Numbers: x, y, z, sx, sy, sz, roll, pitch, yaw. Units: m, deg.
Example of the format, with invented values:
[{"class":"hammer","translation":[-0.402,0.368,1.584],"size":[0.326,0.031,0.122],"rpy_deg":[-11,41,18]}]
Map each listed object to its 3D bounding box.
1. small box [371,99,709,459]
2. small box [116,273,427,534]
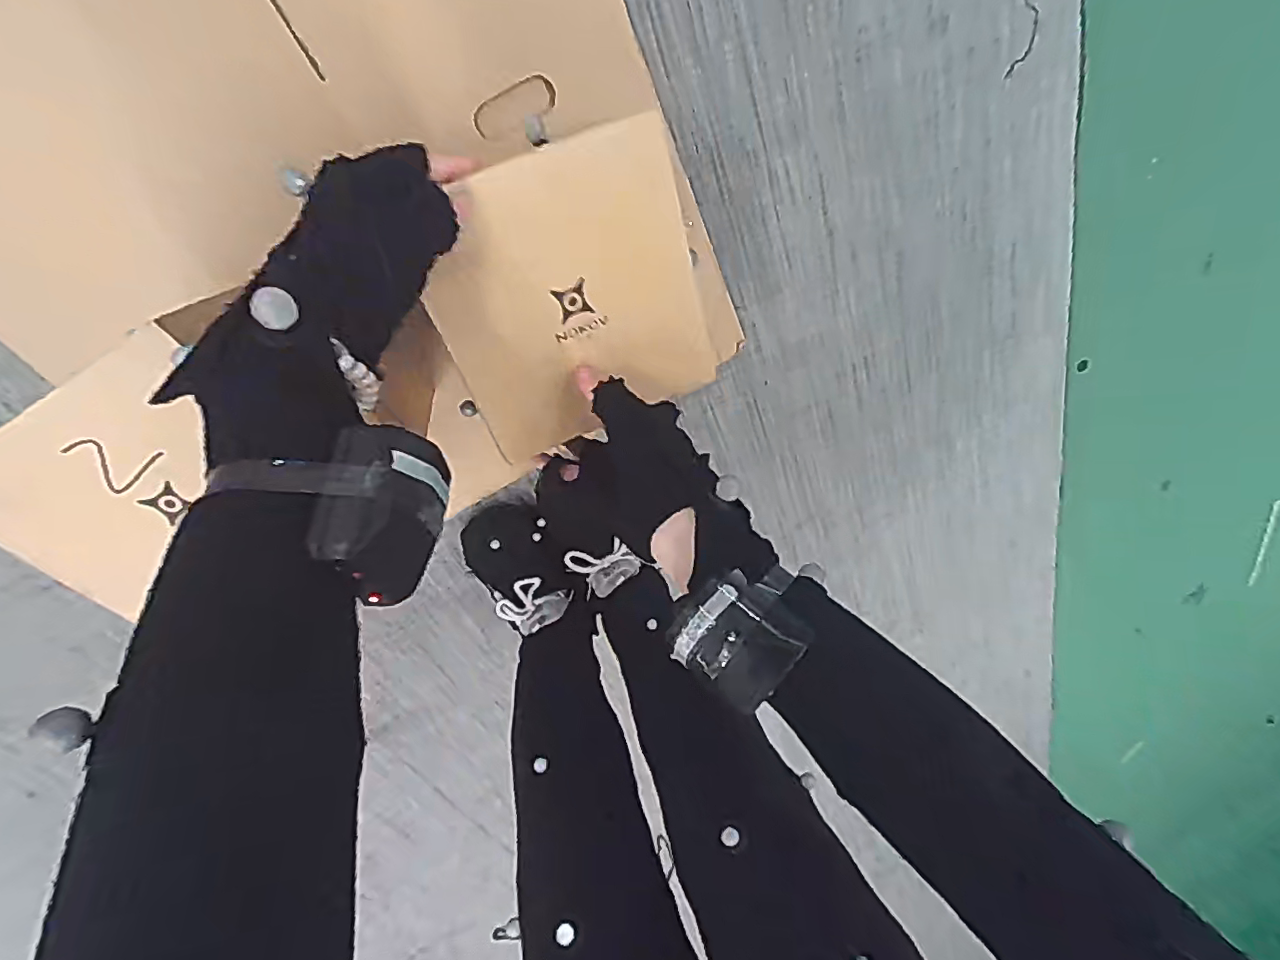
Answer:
[{"class":"small box","translation":[-0.072,-0.151,0.406],"size":[0.168,0.176,0.179],"rpy_deg":[-25,126,-4]},{"class":"small box","translation":[-0.339,-0.085,0.548],"size":[0.168,0.176,0.179],"rpy_deg":[-33,121,1]}]
